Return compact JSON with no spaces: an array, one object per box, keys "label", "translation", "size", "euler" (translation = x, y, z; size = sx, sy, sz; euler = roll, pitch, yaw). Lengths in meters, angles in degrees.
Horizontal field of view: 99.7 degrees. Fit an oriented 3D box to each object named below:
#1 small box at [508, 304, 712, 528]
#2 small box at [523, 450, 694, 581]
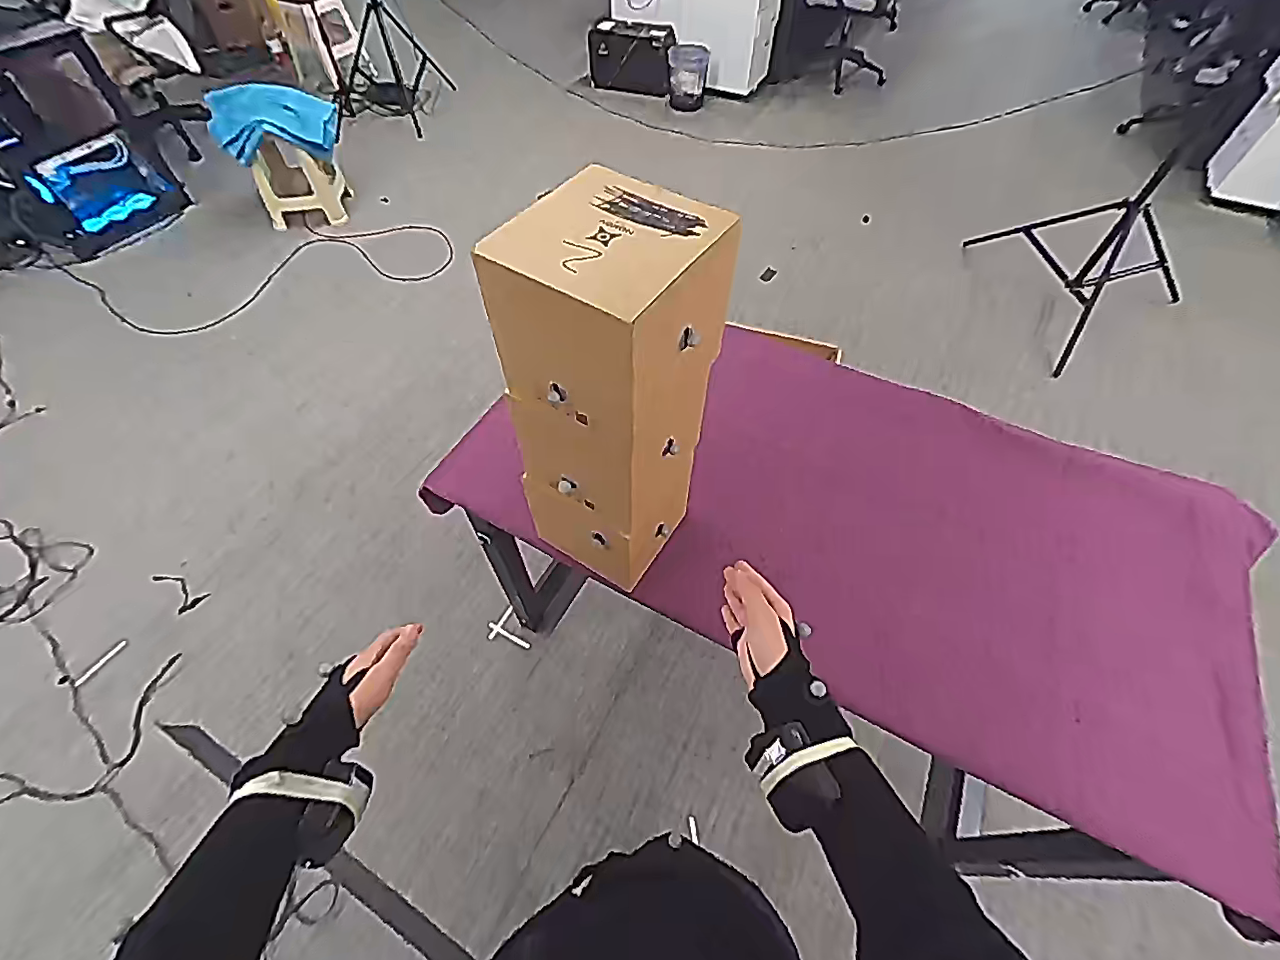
[{"label":"small box","translation":[-0.032,-0.075,0.661],"size":[0.168,0.176,0.179],"euler":[27,60,18]},{"label":"small box","translation":[-0.040,0.024,0.792],"size":[0.179,0.176,0.168],"euler":[28,59,18]}]
